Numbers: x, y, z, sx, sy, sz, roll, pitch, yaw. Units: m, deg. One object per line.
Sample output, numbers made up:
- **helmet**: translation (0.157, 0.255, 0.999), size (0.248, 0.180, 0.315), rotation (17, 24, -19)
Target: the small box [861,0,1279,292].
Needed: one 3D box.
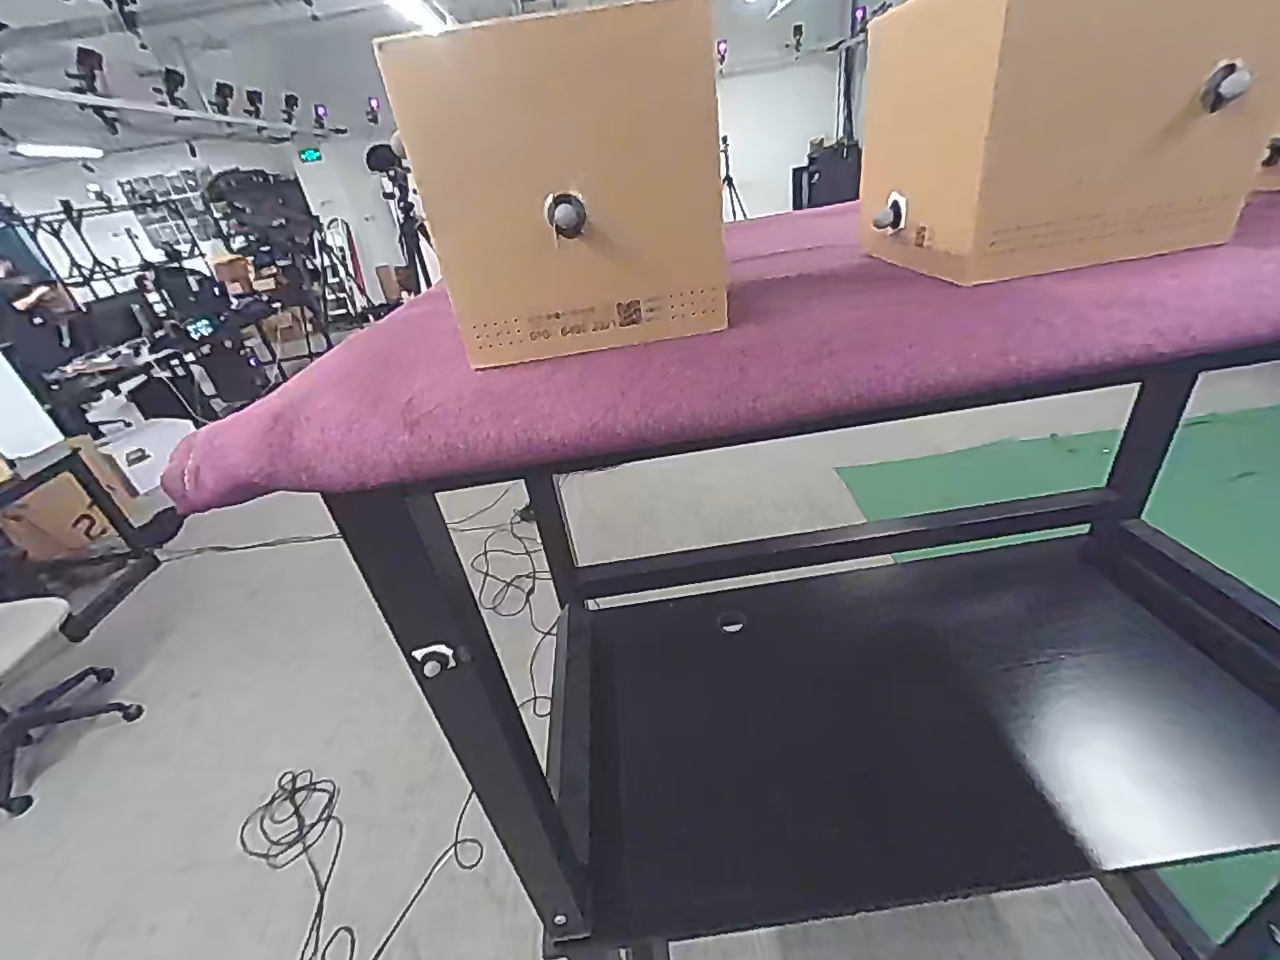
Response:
- **small box**: translation (0.274, -0.243, 0.375), size (0.179, 0.176, 0.168), rotation (-10, 31, 0)

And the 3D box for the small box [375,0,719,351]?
- **small box**: translation (-0.044, -0.194, 0.369), size (0.168, 0.176, 0.179), rotation (-8, 31, -1)
